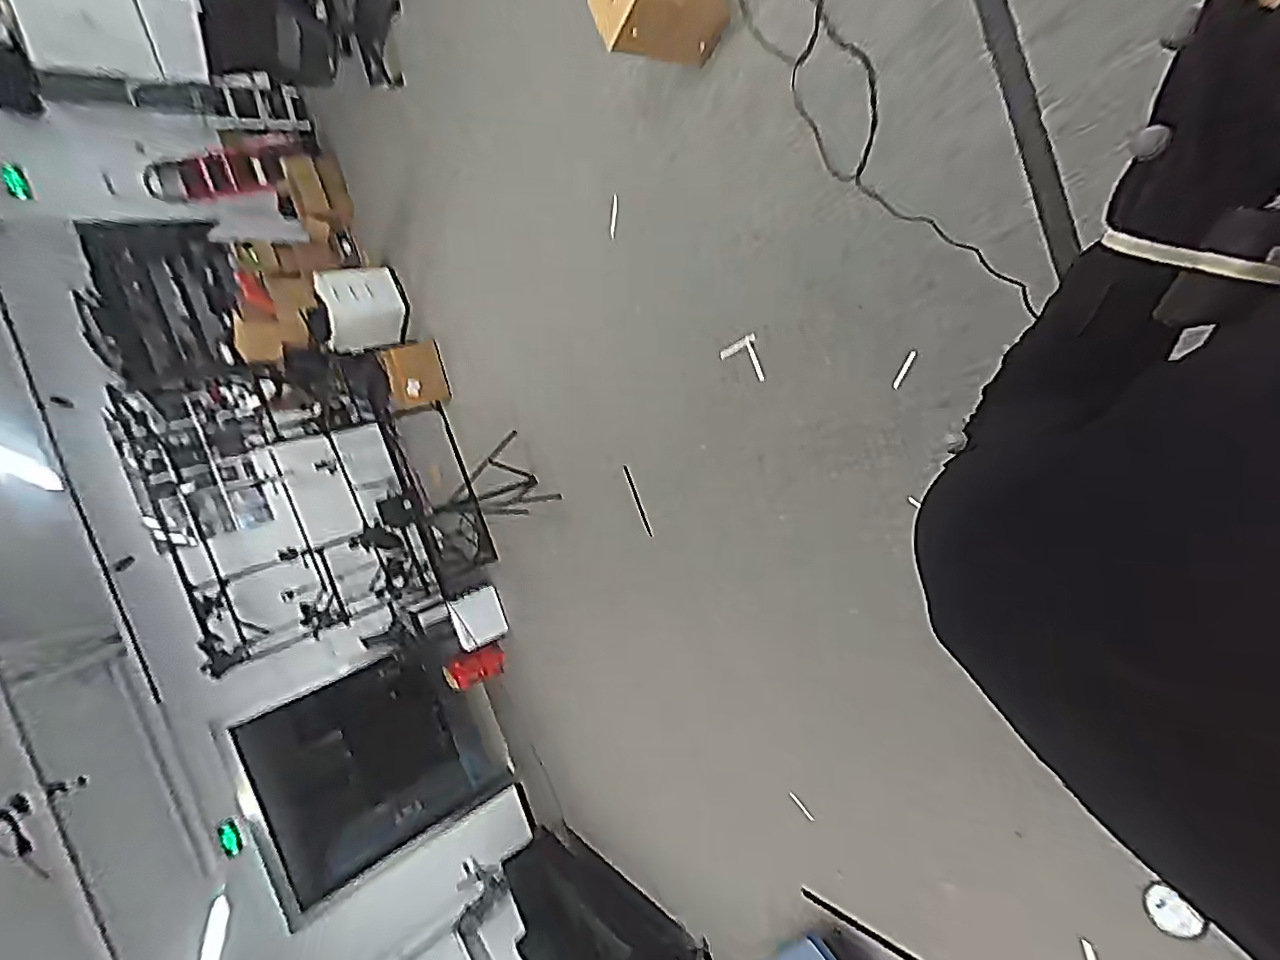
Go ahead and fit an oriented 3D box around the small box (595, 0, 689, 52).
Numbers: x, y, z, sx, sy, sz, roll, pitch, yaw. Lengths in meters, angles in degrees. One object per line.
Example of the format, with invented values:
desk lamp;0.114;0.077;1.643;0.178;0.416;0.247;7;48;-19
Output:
small box;0.009;-1.282;1.427;0.179;0.176;0.168;-25;87;59

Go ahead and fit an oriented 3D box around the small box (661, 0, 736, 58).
small box;0.135;-1.330;1.517;0.168;0.176;0.179;-29;84;58
